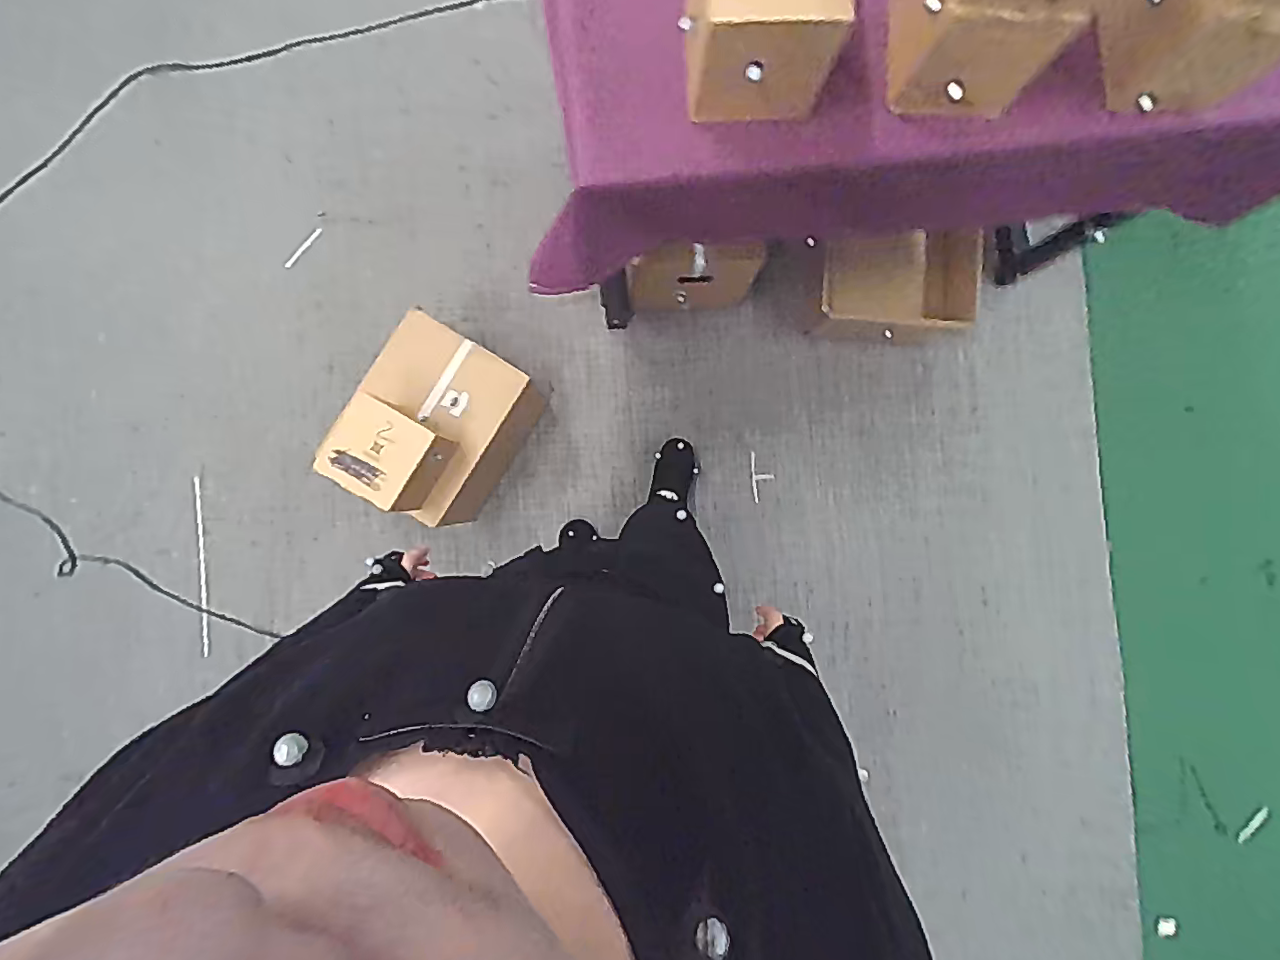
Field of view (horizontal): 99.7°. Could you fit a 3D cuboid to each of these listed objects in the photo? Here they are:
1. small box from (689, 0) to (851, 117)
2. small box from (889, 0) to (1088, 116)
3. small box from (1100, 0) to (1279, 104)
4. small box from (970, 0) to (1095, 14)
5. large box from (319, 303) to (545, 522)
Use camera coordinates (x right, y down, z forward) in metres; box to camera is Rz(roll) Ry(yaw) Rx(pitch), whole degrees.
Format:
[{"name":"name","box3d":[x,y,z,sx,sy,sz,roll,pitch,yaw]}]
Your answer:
[{"name":"small box","box3d":[0.158,-0.615,0.716,0.179,0.176,0.168,-3,89,-1]},{"name":"small box","box3d":[0.455,-0.637,0.727,0.168,0.176,0.179,2,89,-1]},{"name":"small box","box3d":[0.776,-0.646,0.734,0.168,0.176,0.179,-3,88,-1]},{"name":"small box","box3d":[0.461,-0.648,0.563,0.168,0.176,0.179,3,89,-1]},{"name":"large box","box3d":[-0.486,-0.144,1.348,0.320,0.320,0.408,32,87,-2]}]
